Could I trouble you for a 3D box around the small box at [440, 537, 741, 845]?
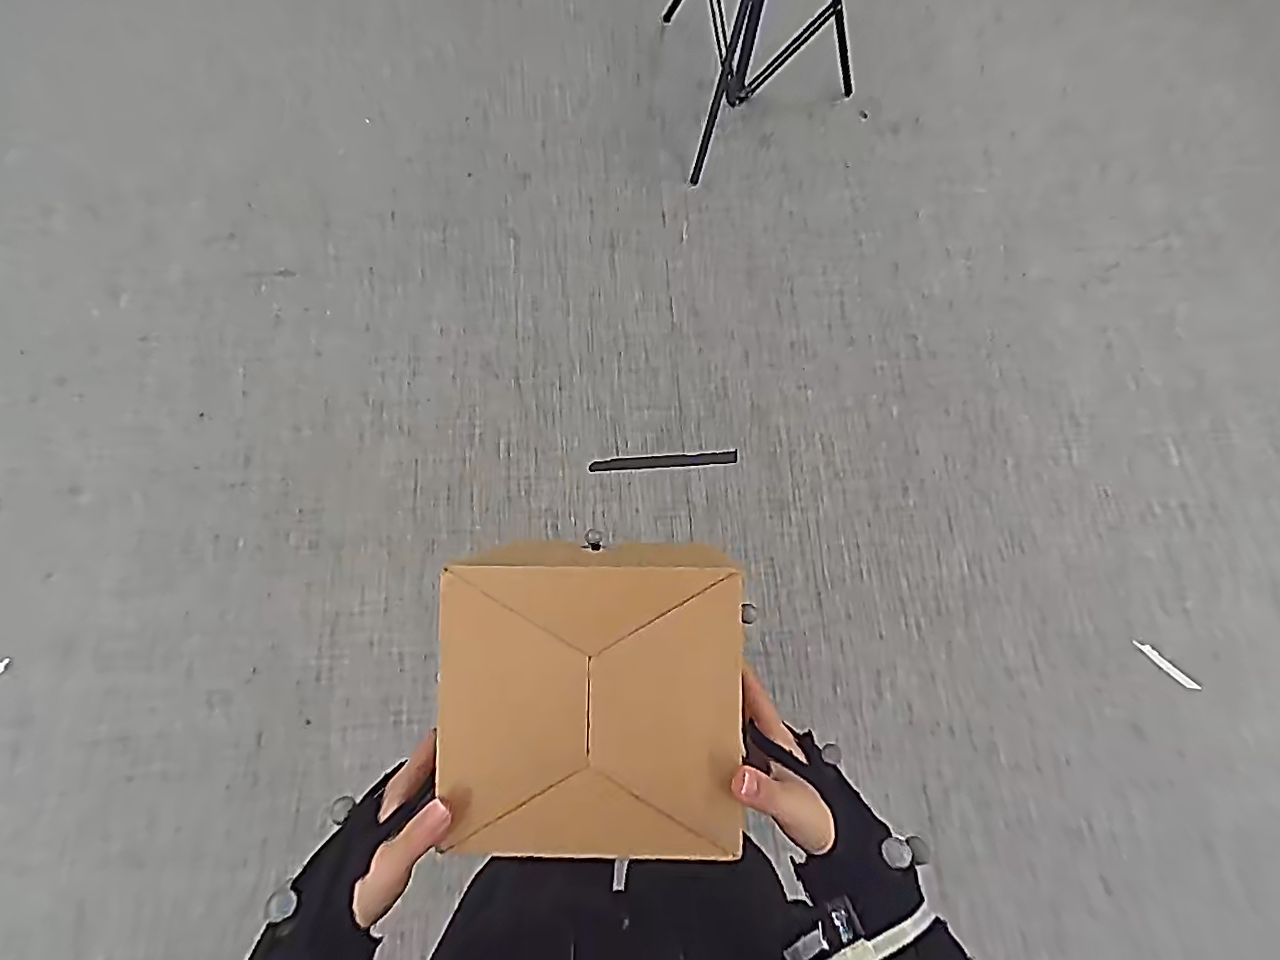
[{"bbox_3d":[-0.025,0.130,0.389,0.179,0.176,0.168,0,88,0],"label":"small box"}]
